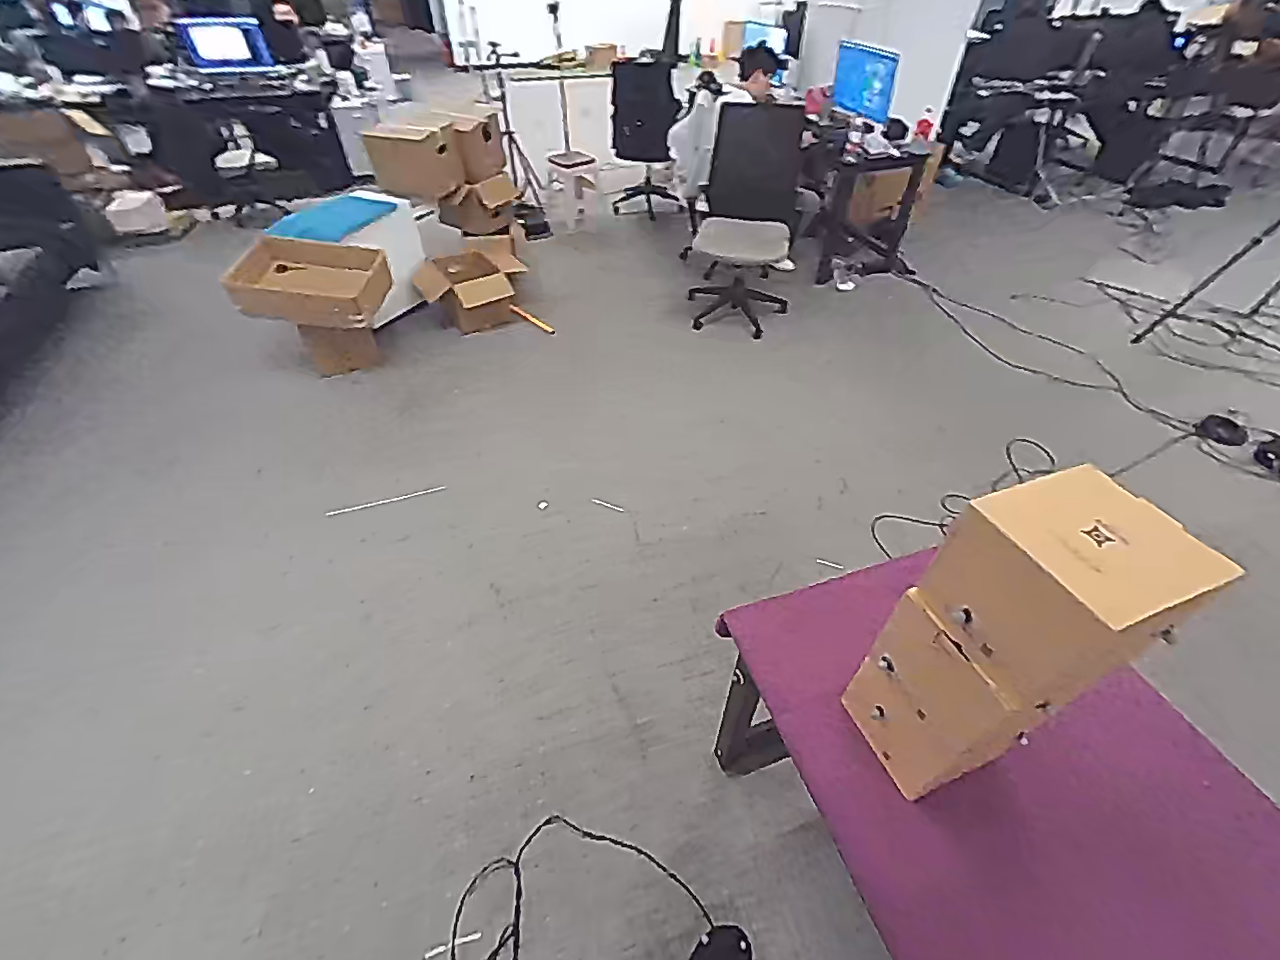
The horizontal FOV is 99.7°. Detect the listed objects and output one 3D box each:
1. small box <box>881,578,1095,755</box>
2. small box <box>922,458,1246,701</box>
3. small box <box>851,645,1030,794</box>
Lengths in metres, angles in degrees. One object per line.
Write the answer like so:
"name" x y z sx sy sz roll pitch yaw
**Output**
"small box" 0.440 0.222 0.696 0.179 0.176 0.168 -14 47 -15
"small box" 0.448 0.106 0.582 0.179 0.176 0.168 -15 46 -14
"small box" 0.442 0.338 0.813 0.179 0.176 0.168 -15 46 -15
